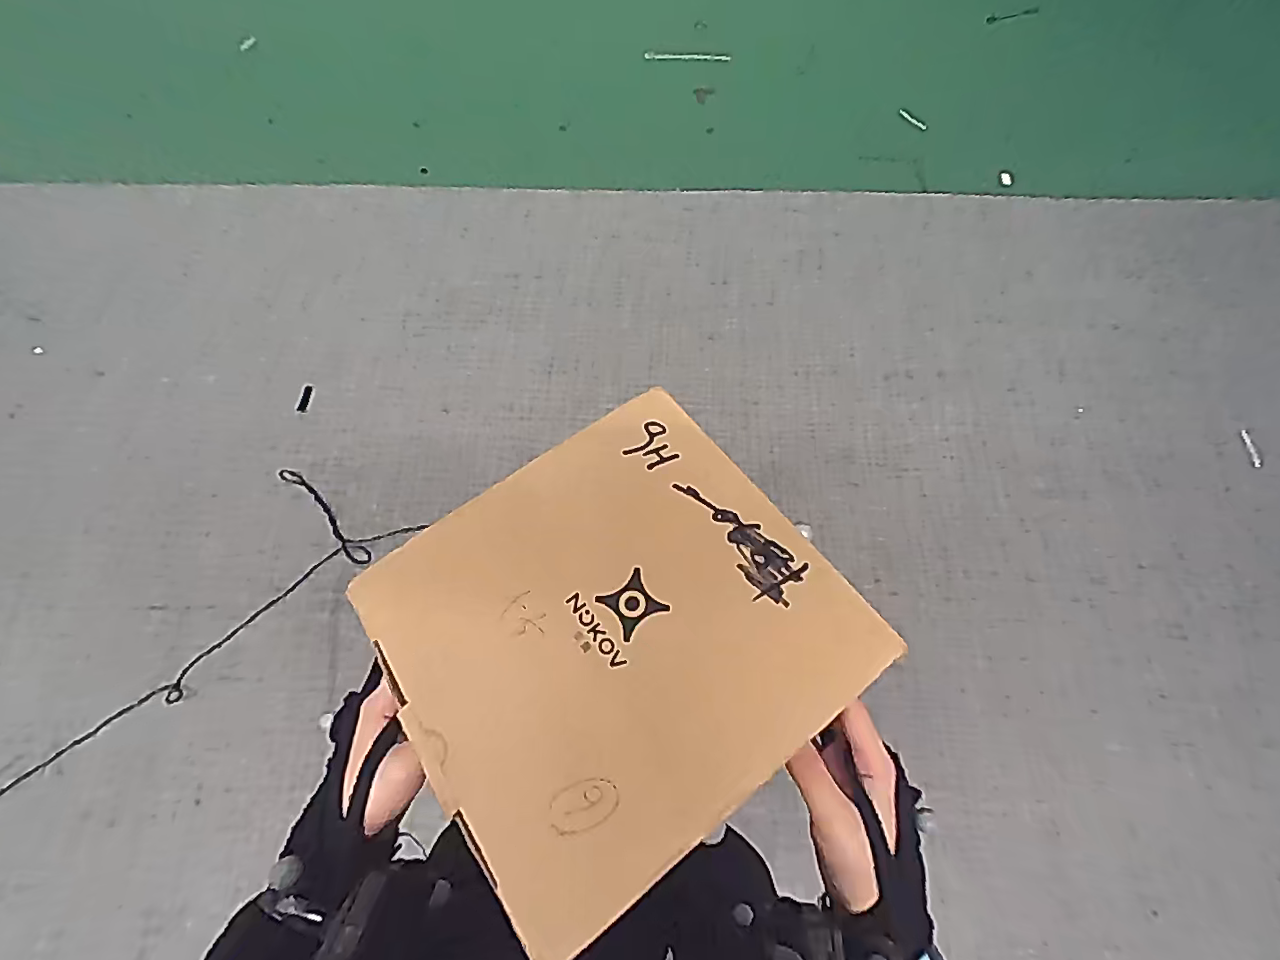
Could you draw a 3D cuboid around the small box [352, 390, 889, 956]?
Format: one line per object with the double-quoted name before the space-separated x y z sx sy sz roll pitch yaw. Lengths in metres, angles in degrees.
"small box" -0.009 0.092 0.299 0.179 0.176 0.168 -34 66 -14
